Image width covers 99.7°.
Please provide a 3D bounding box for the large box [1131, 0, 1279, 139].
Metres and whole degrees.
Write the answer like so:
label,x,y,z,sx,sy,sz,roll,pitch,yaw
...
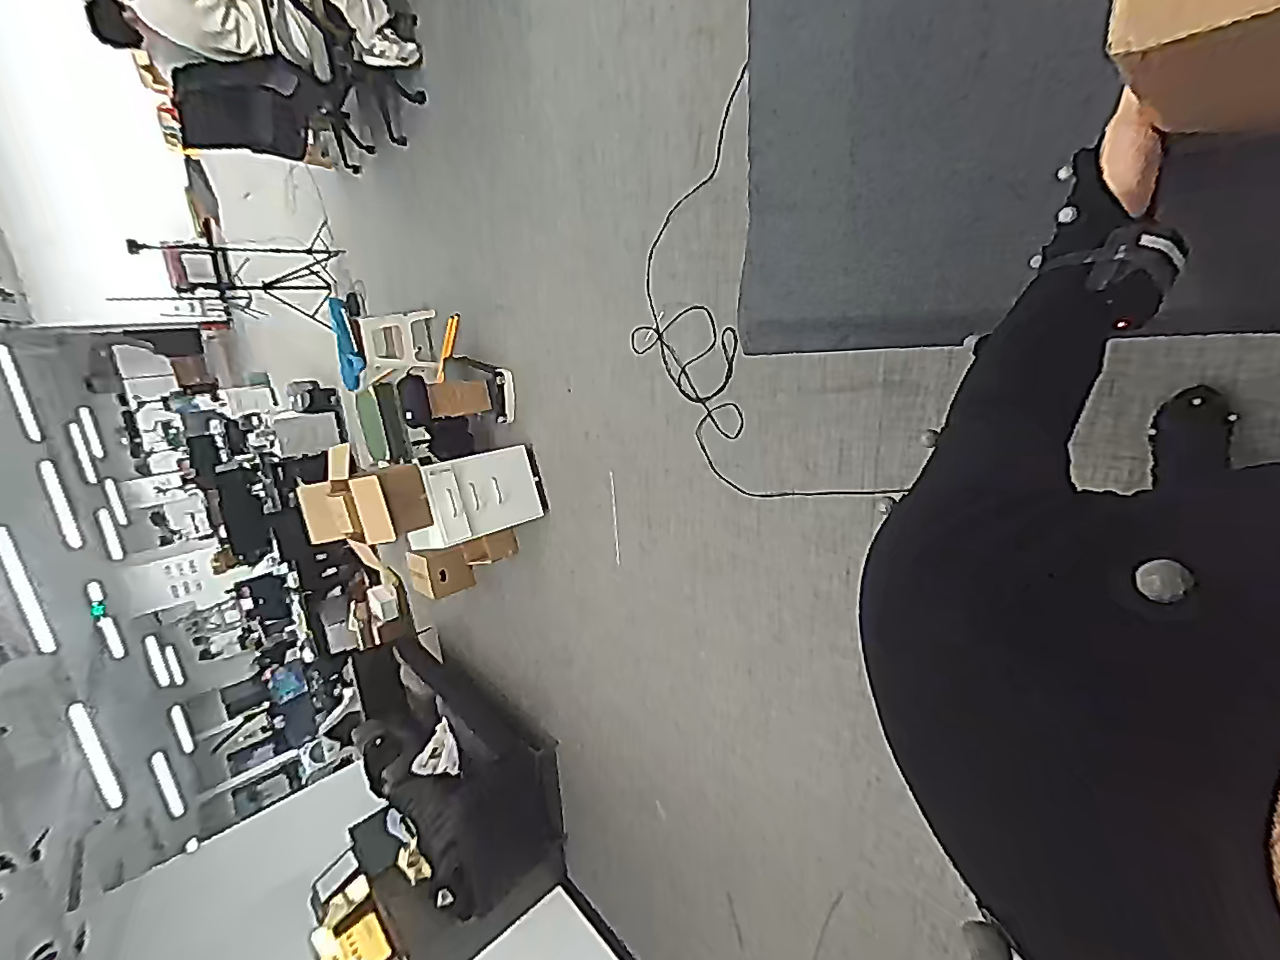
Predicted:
label,x,y,z,sx,sy,sz,roll,pitch,yaw
large box,0.500,-0.394,0.215,0.408,0.320,0.320,12,112,46
